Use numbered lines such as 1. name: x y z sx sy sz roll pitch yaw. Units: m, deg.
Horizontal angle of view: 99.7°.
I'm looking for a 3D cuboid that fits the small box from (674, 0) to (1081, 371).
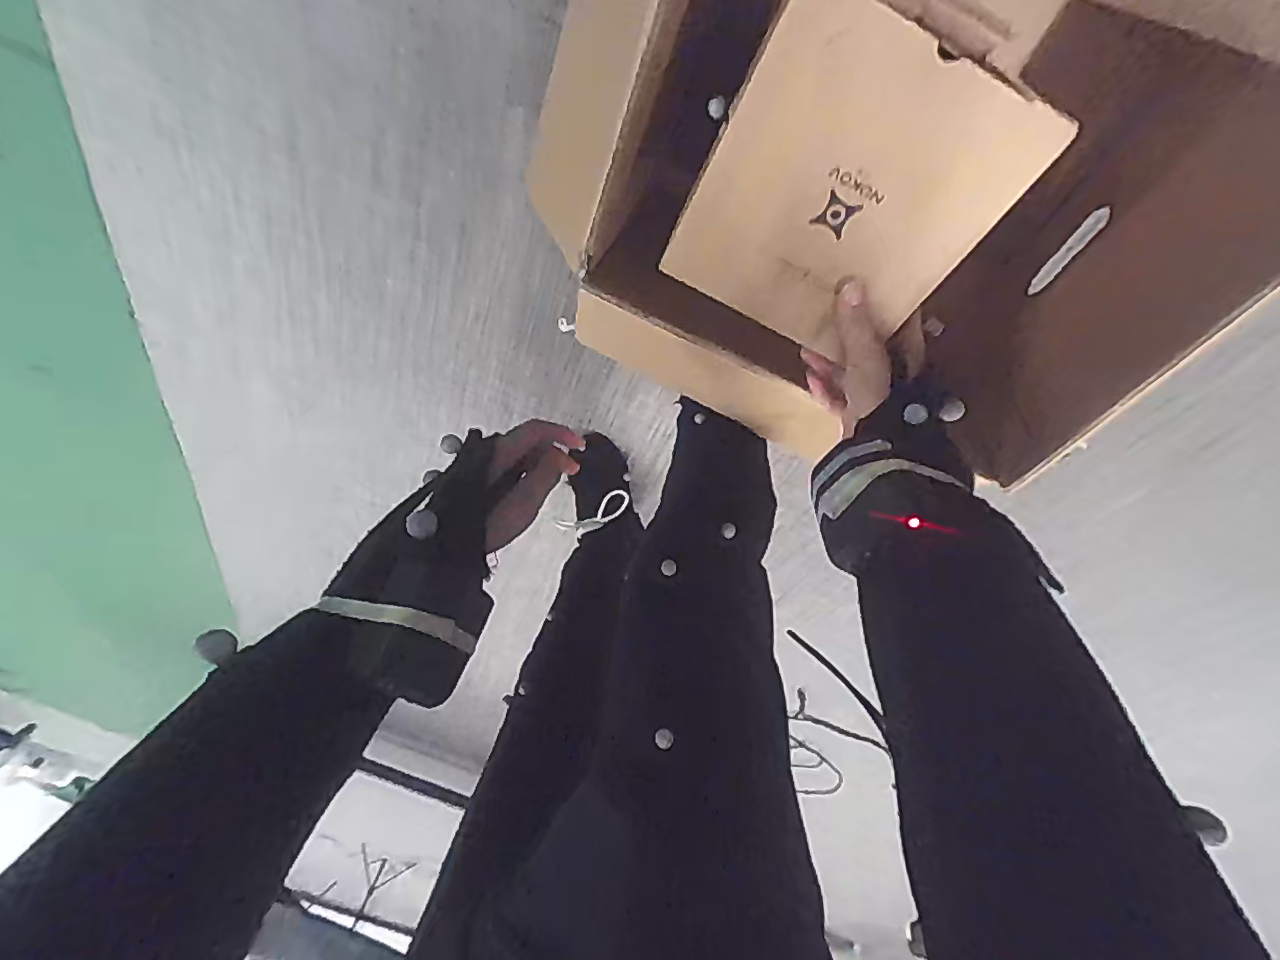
1. small box: 0.143 -0.220 0.385 0.168 0.176 0.179 26 135 -9
